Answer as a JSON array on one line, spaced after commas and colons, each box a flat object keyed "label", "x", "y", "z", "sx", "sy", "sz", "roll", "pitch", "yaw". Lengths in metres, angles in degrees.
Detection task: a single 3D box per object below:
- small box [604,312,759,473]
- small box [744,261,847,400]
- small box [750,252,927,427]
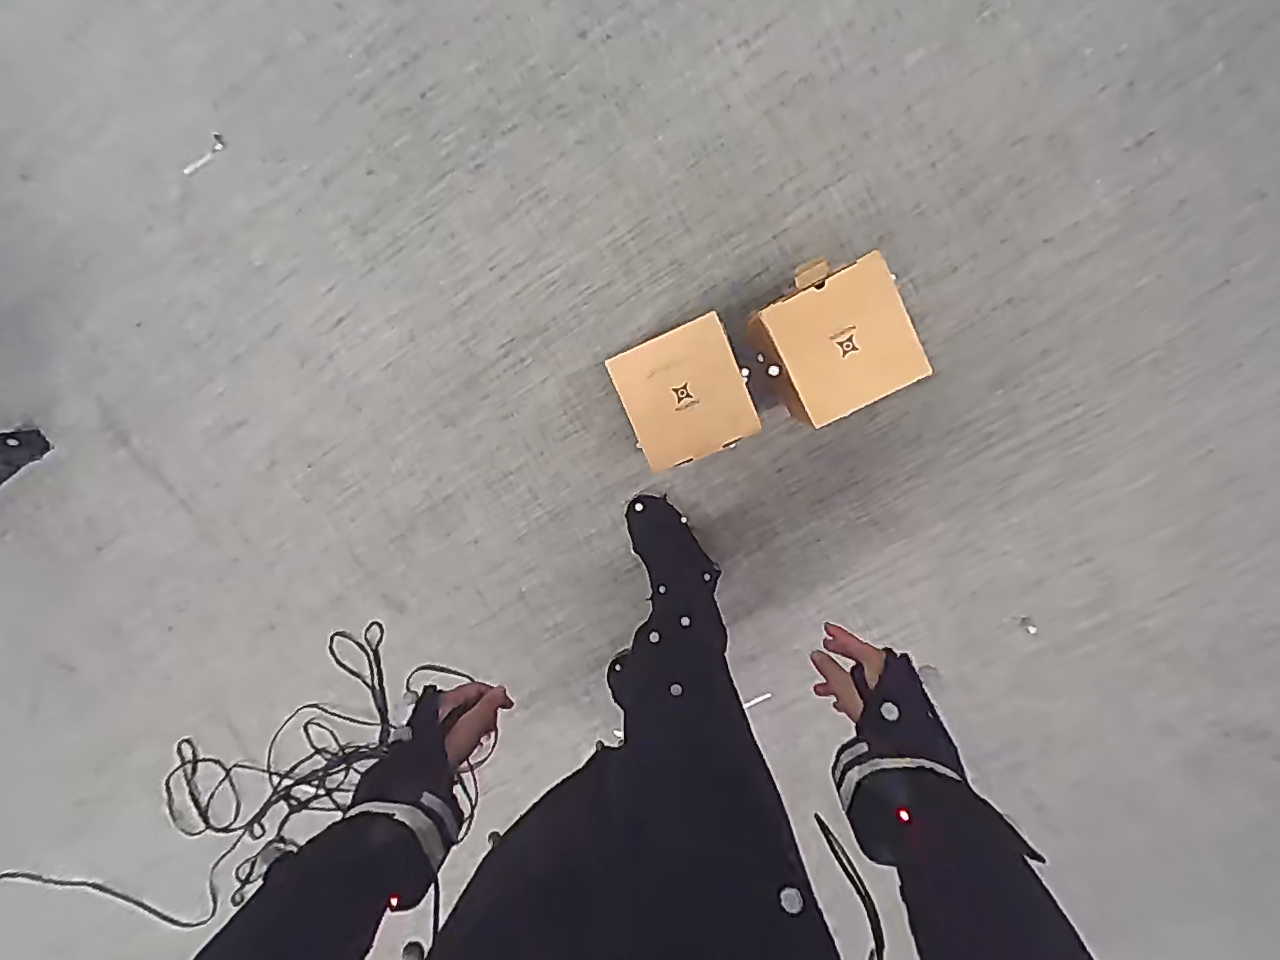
[{"label": "small box", "x": 0.065, "y": -0.130, "z": 0.815, "sx": 0.168, "sy": 0.176, "sz": 0.179, "roll": -23, "pitch": 96, "yaw": 8}, {"label": "small box", "x": 0.292, "y": -0.244, "z": 0.938, "sx": 0.168, "sy": 0.176, "sz": 0.179, "roll": -26, "pitch": 96, "yaw": 9}, {"label": "small box", "x": 0.274, "y": -0.196, "z": 0.782, "sx": 0.168, "sy": 0.176, "sz": 0.179, "roll": -27, "pitch": 97, "yaw": 10}]
